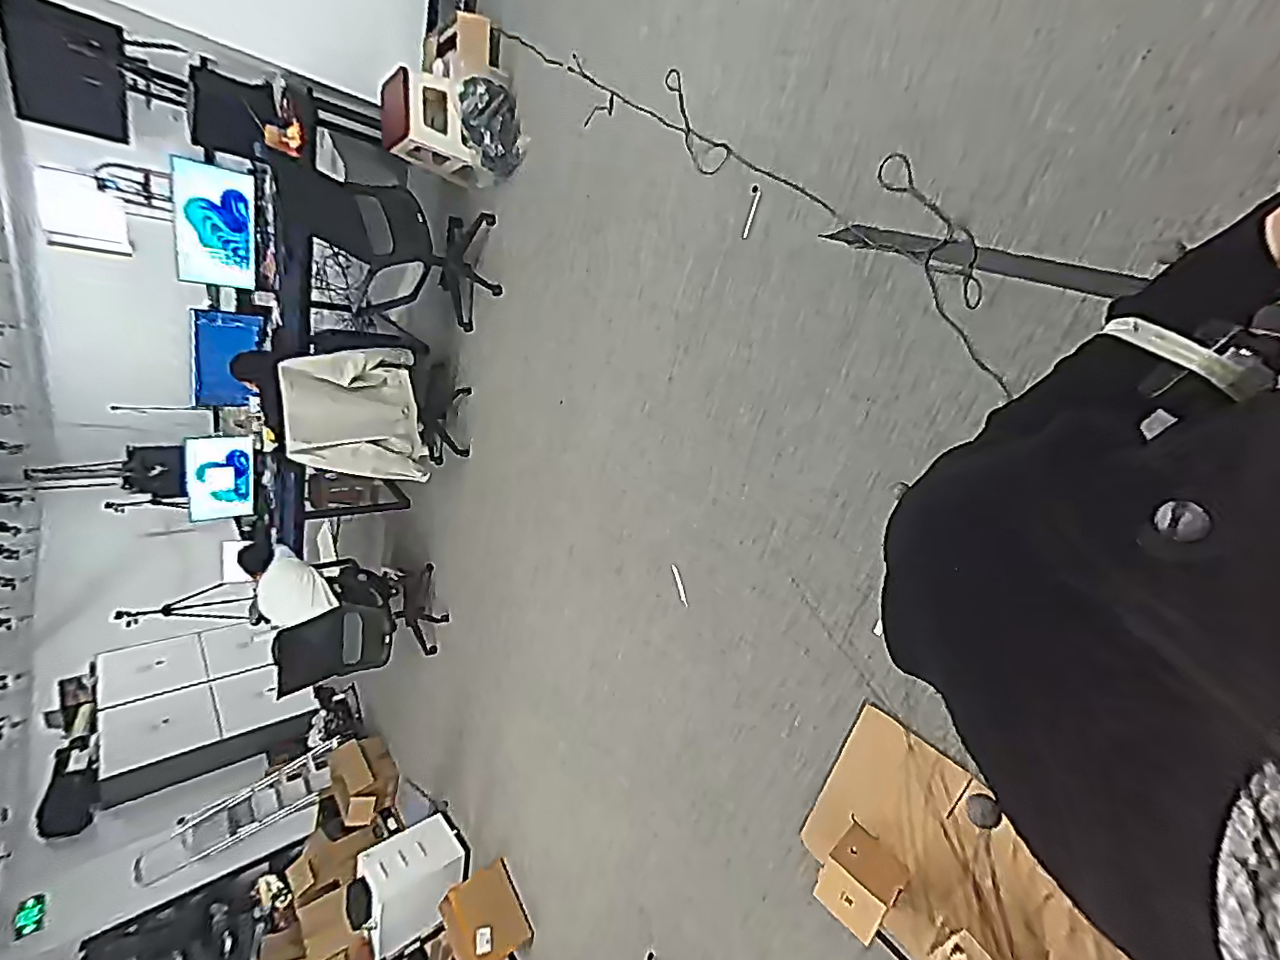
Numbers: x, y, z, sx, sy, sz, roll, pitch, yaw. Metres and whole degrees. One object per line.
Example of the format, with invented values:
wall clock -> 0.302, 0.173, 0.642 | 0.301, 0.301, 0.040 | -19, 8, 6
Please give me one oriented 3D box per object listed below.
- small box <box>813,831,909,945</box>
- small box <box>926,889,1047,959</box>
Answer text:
small box -> 0.634, 1.154, 1.553 | 0.179, 0.176, 0.168 | 28, 115, 41
small box -> 0.852, 1.169, 1.325 | 0.179, 0.176, 0.168 | 42, 122, 33
